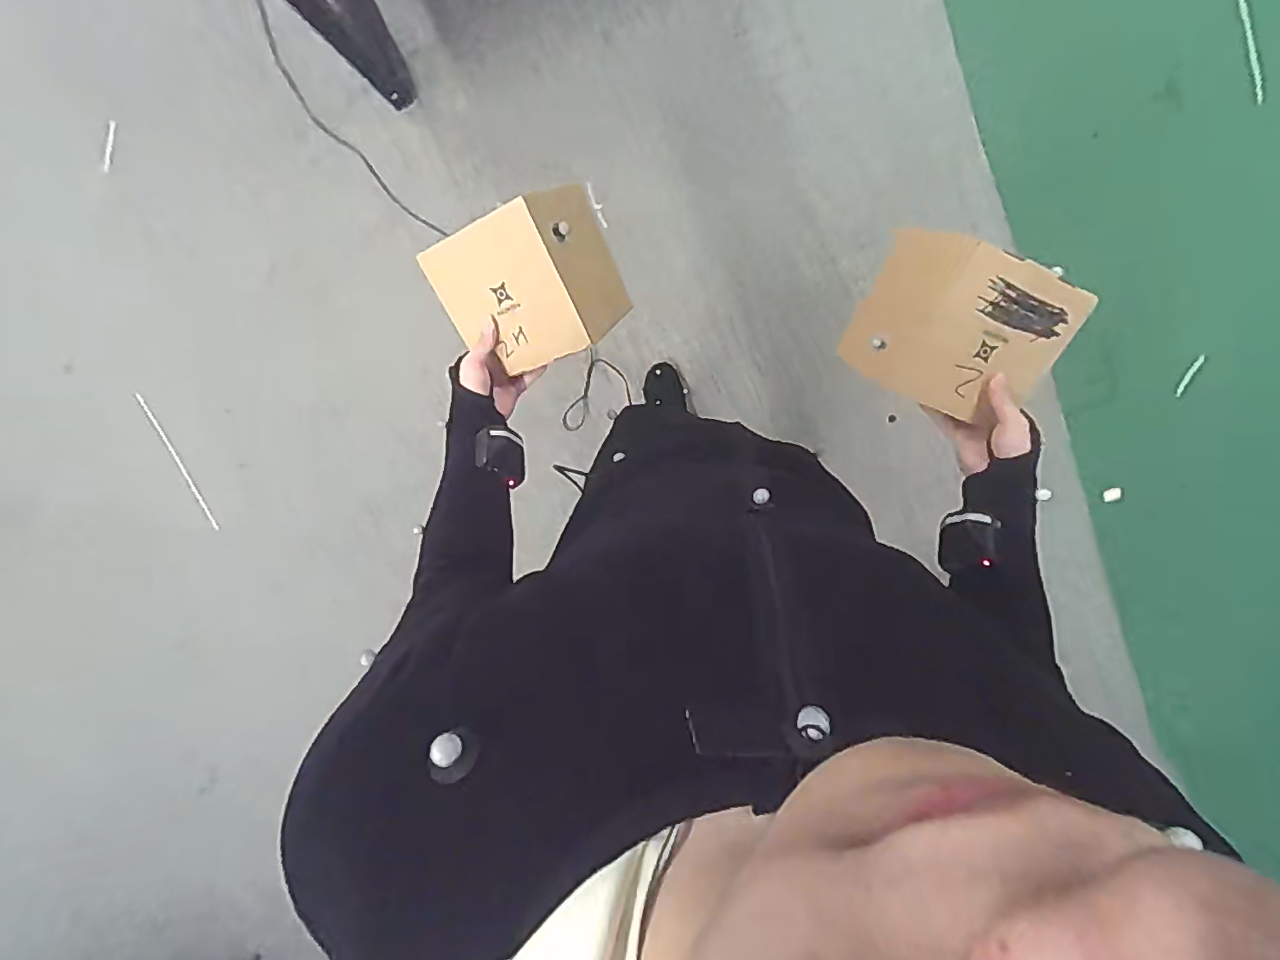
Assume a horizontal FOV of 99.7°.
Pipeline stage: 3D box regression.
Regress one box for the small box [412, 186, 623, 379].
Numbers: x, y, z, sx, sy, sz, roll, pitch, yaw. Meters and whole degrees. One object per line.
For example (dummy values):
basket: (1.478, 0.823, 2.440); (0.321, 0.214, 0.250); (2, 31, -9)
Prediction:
small box: (-0.146, -0.261, 0.701); (0.168, 0.176, 0.179); (-14, 117, 27)
